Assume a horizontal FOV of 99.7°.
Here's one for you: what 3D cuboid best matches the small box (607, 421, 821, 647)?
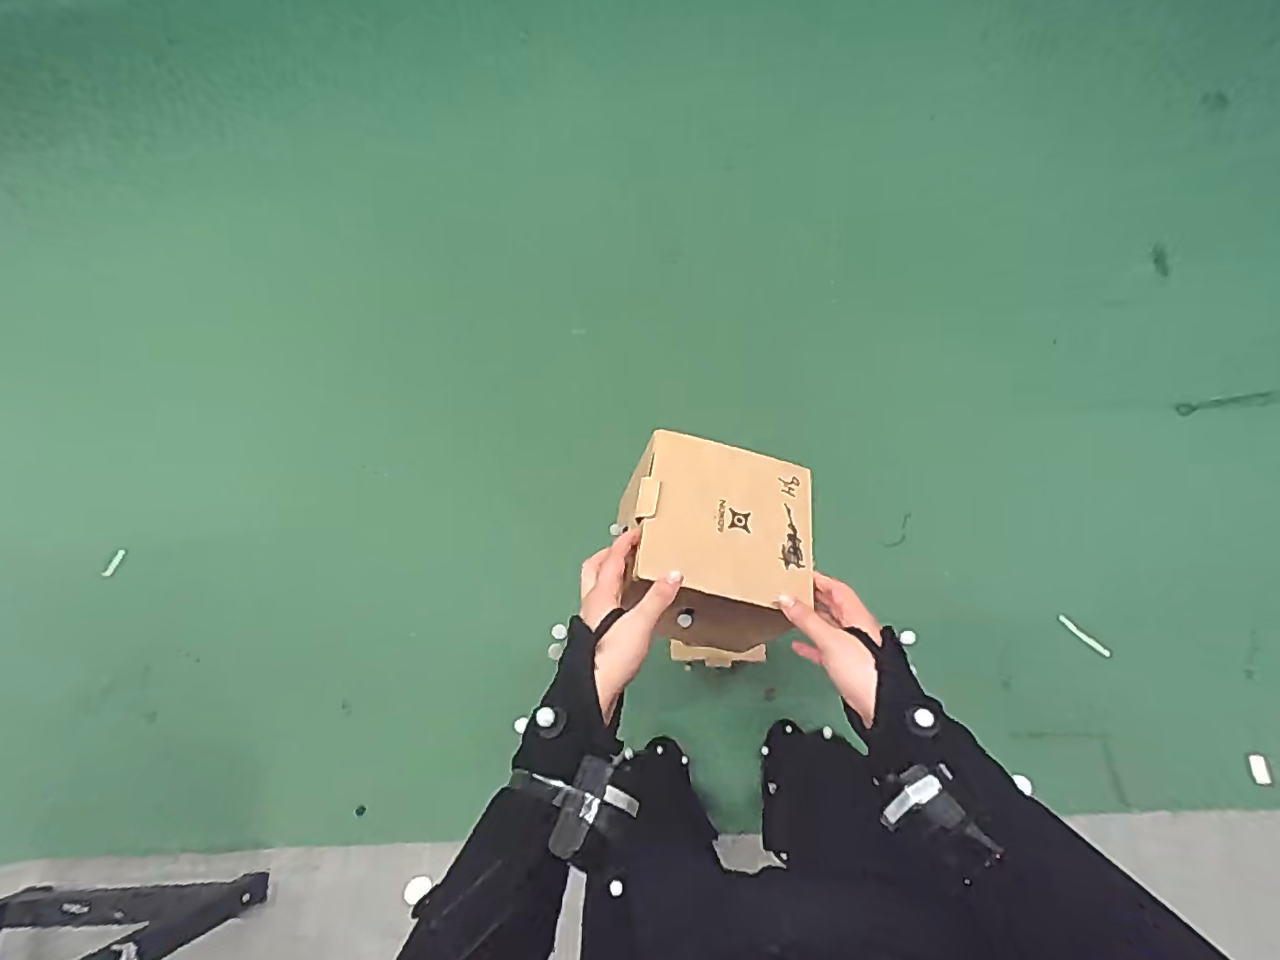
[{"bbox_3d":[0.070,0.068,0.575,0.179,0.176,0.168,14,59,-7],"label":"small box"}]

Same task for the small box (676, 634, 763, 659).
[{"bbox_3d":[0.169,0.304,1.189,0.179,0.176,0.168,-1,73,6],"label":"small box"}]
